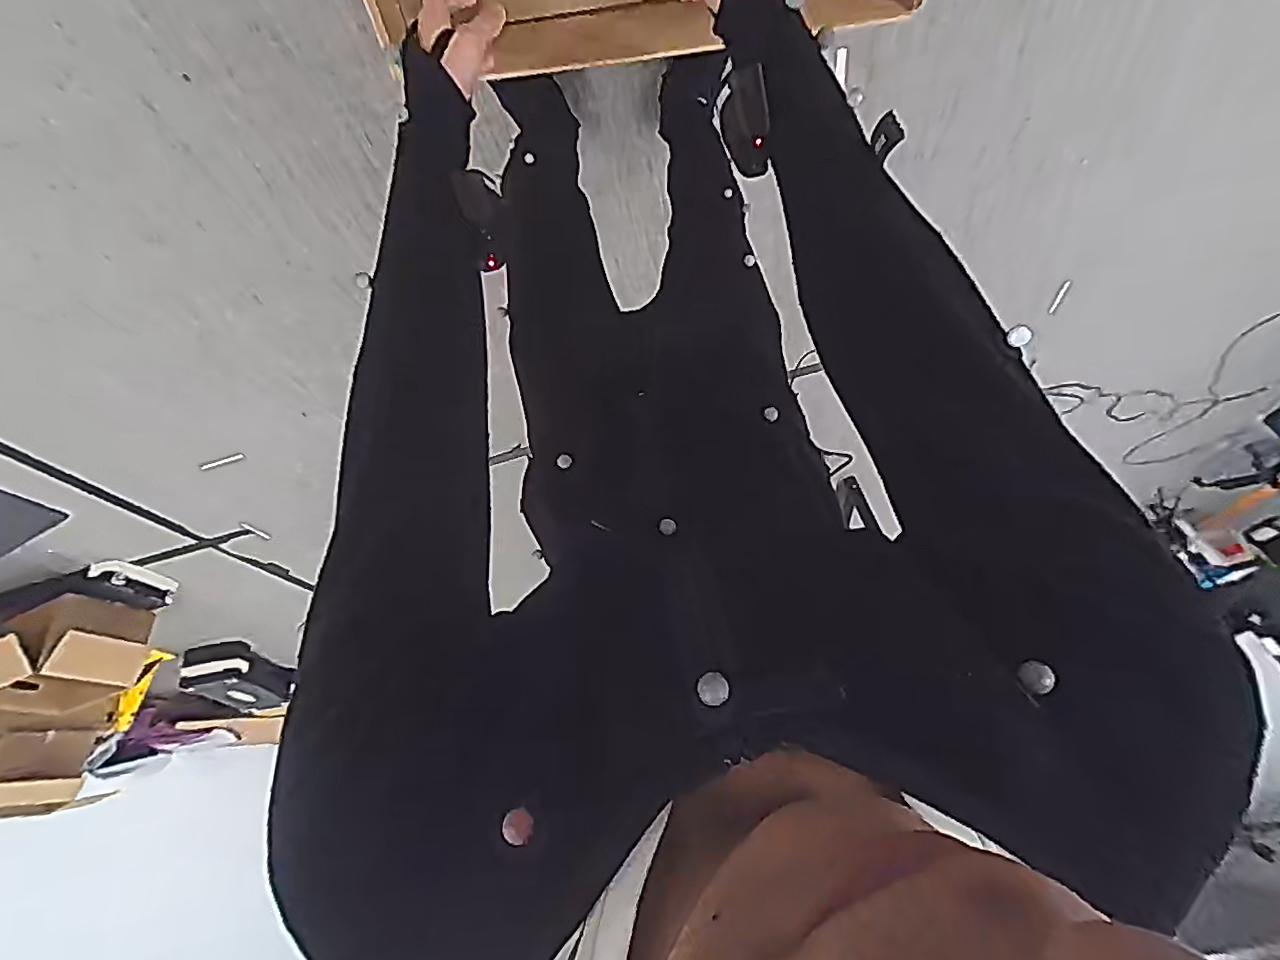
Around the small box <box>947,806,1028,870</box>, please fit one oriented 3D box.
[{"bbox_3d":[1.289,1.329,2.020,0.179,0.176,0.168,-18,149,8],"label":"small box"}]

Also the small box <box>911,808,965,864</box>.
[{"bbox_3d":[1.268,1.493,2.270,0.179,0.176,0.168,-17,148,6],"label":"small box"}]
